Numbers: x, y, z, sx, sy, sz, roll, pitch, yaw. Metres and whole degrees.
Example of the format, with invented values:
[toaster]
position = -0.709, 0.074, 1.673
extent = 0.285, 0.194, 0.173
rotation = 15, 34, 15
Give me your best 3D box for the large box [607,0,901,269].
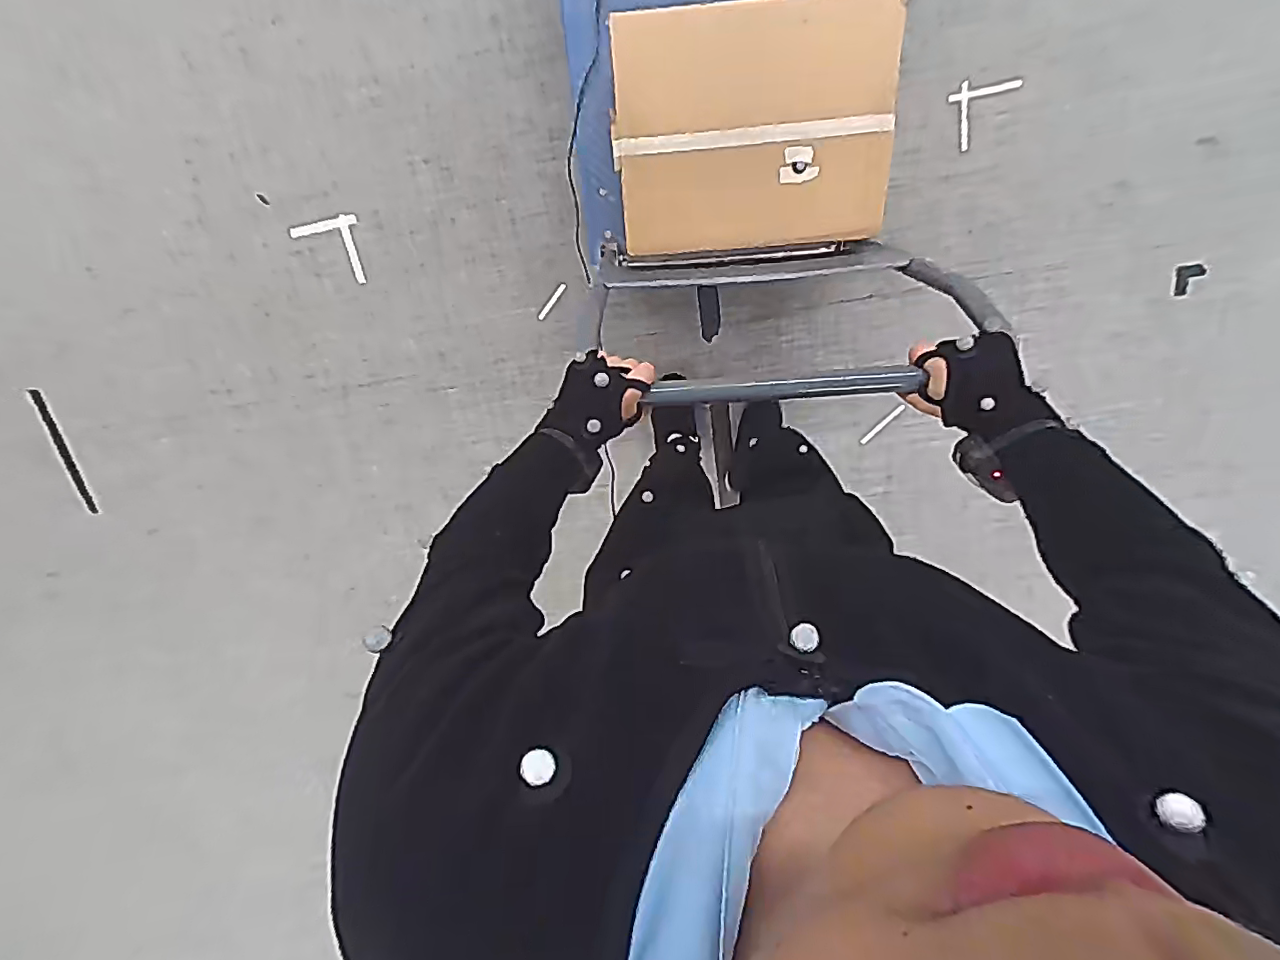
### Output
[large box]
position = 0.165, -0.564, 0.930
extent = 0.408, 0.320, 0.320
rotation = -4, 119, 2
